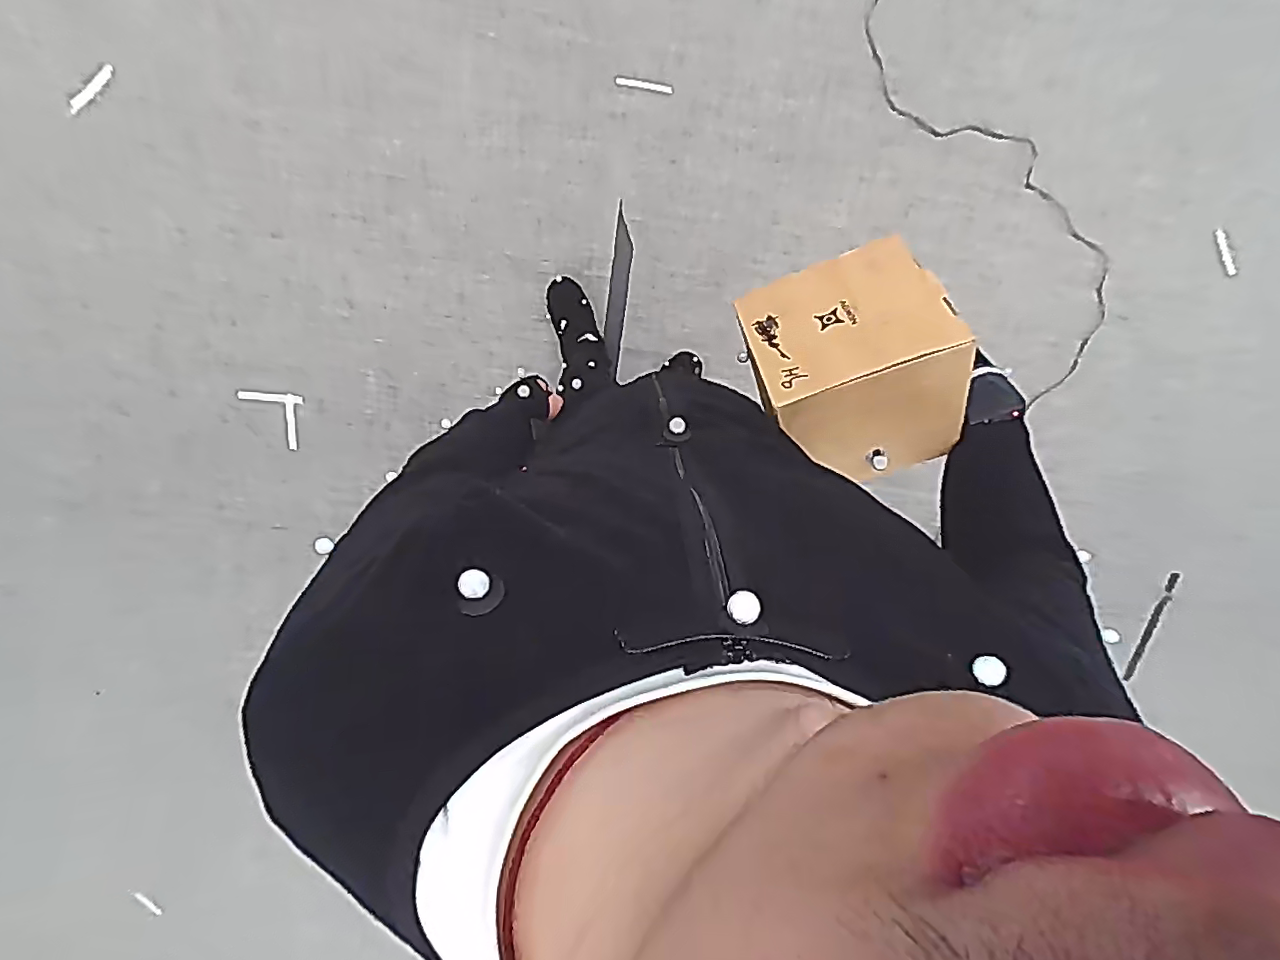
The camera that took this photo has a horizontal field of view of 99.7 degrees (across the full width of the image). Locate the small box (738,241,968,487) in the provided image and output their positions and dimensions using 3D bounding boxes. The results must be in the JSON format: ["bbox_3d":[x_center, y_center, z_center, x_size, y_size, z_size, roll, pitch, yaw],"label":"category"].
[{"bbox_3d":[0.225,-0.119,0.598,0.179,0.168,0.176,-19,141,12],"label":"small box"}]
